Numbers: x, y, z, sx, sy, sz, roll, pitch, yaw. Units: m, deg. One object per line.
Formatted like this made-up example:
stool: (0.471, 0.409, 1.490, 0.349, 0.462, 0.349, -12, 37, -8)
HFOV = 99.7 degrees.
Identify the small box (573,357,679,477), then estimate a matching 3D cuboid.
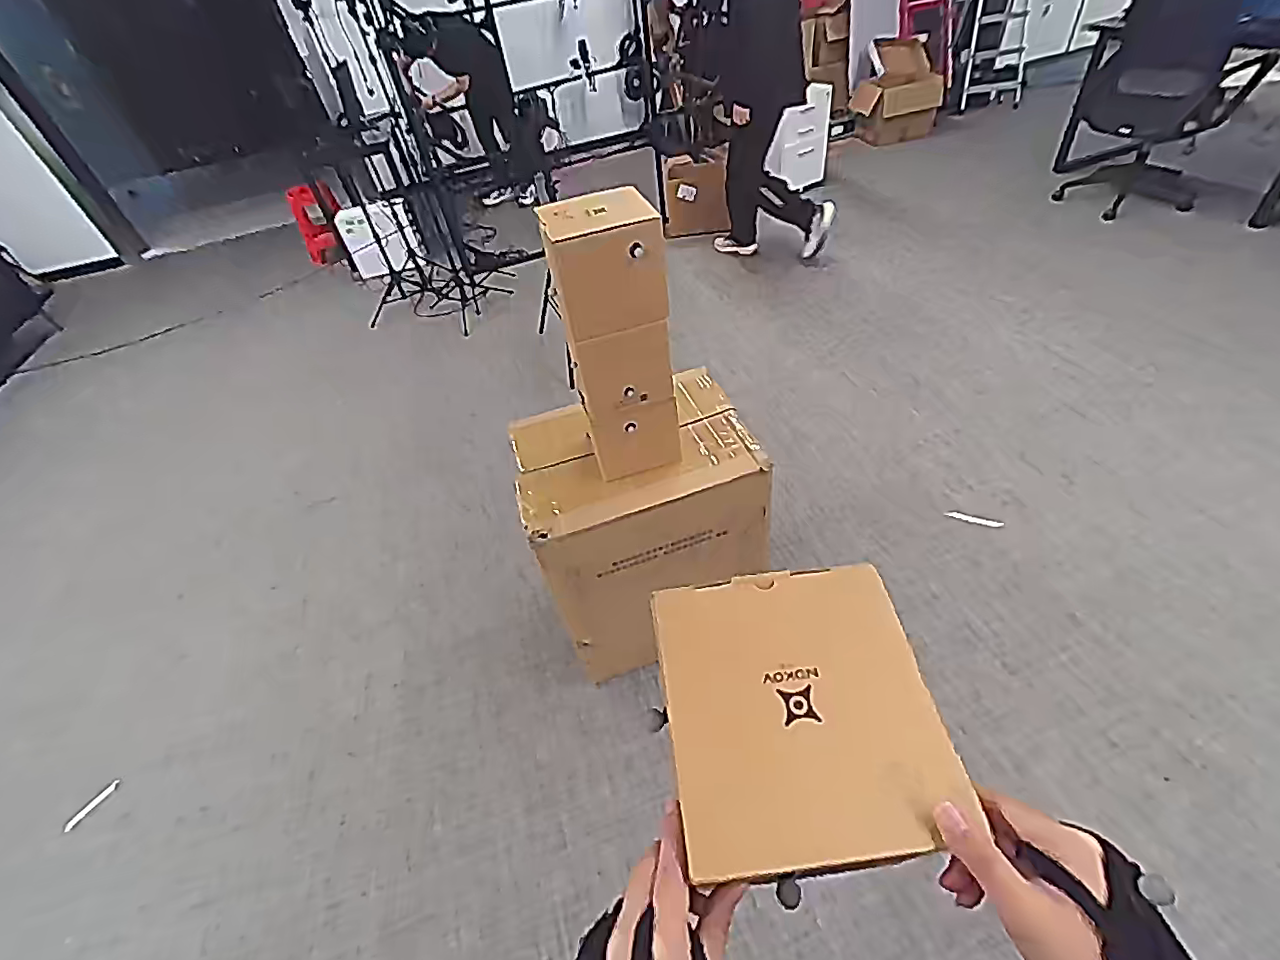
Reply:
small box: (-0.027, -0.130, 1.146, 0.179, 0.176, 0.168, -16, 45, -6)

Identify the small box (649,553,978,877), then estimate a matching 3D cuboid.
small box: (0.104, 0.182, 0.406, 0.168, 0.176, 0.179, -8, 50, 0)

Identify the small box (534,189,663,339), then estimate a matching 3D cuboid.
small box: (-0.065, -0.365, 0.918, 0.179, 0.176, 0.168, -17, 45, -7)
